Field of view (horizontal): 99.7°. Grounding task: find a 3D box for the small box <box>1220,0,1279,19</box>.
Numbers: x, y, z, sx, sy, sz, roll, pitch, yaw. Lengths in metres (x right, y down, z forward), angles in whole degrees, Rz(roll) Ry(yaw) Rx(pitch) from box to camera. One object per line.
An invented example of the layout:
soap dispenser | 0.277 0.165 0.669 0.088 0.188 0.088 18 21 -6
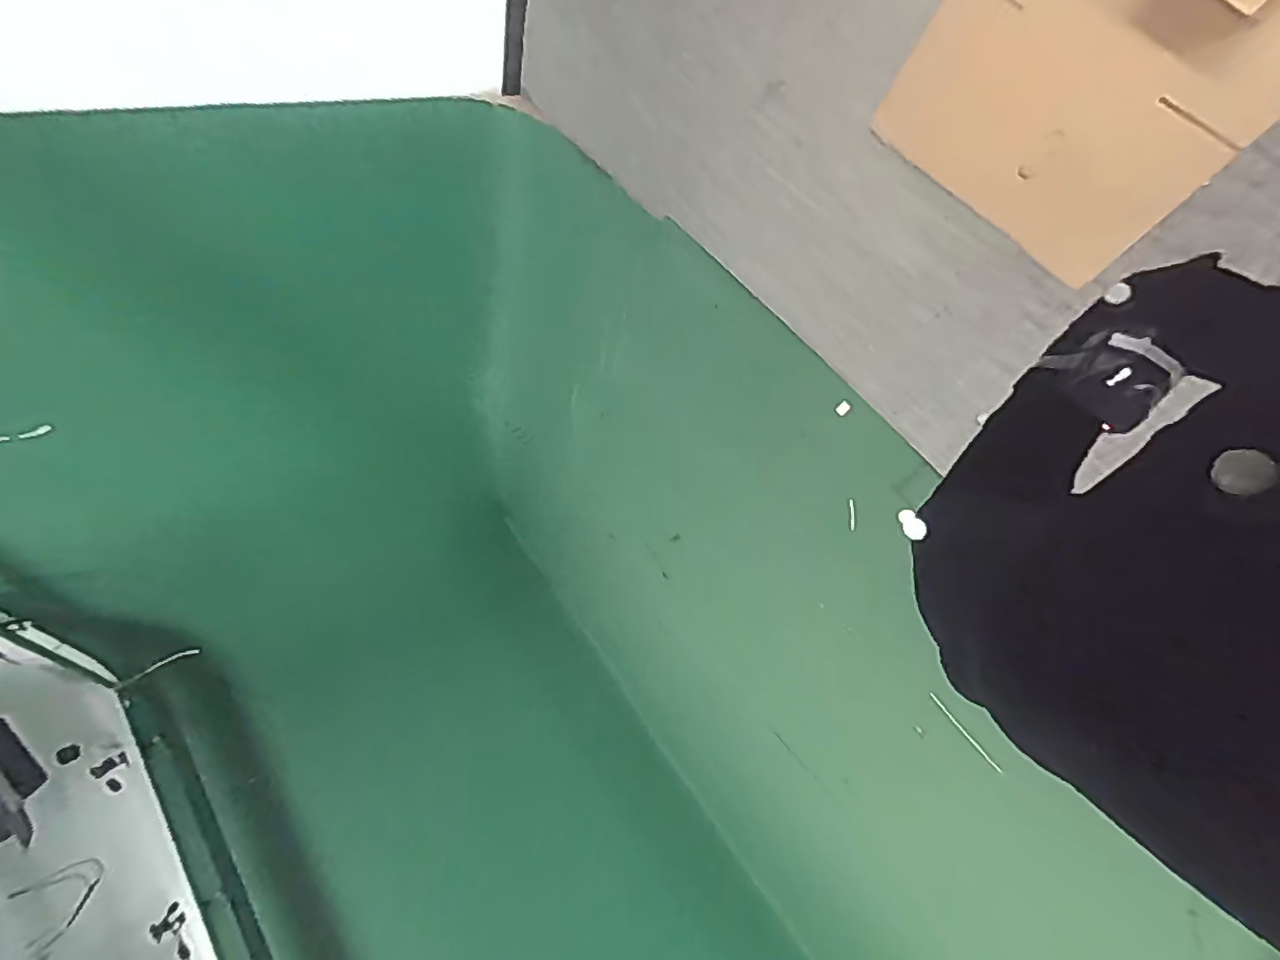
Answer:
small box | 0.868 -0.760 0.730 0.179 0.176 0.168 52 148 14
